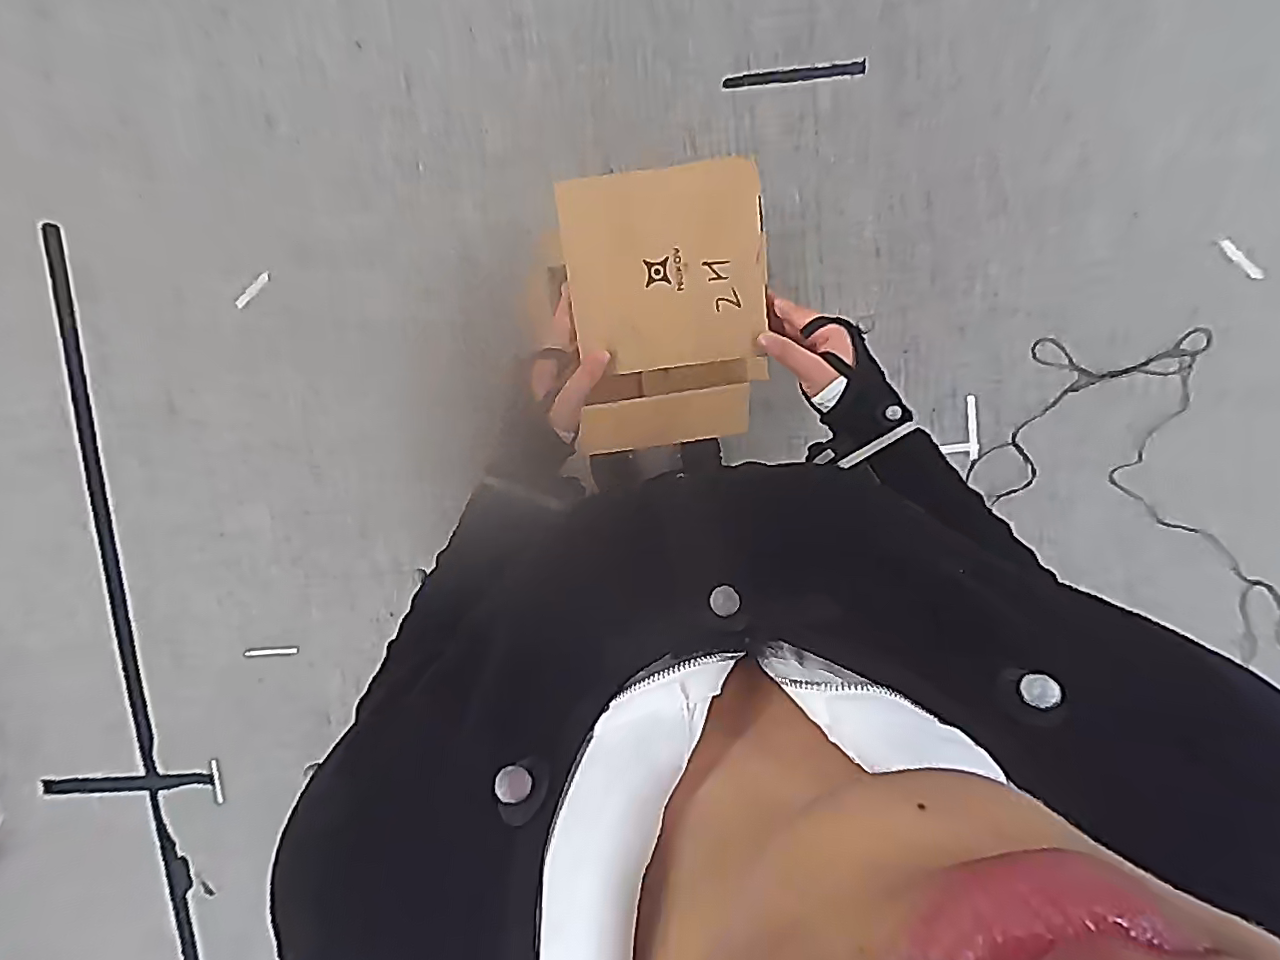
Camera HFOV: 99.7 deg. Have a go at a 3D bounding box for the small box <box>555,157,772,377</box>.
[{"bbox_3d":[0.023,-0.198,0.543,0.179,0.176,0.168,-7,105,0],"label":"small box"}]
